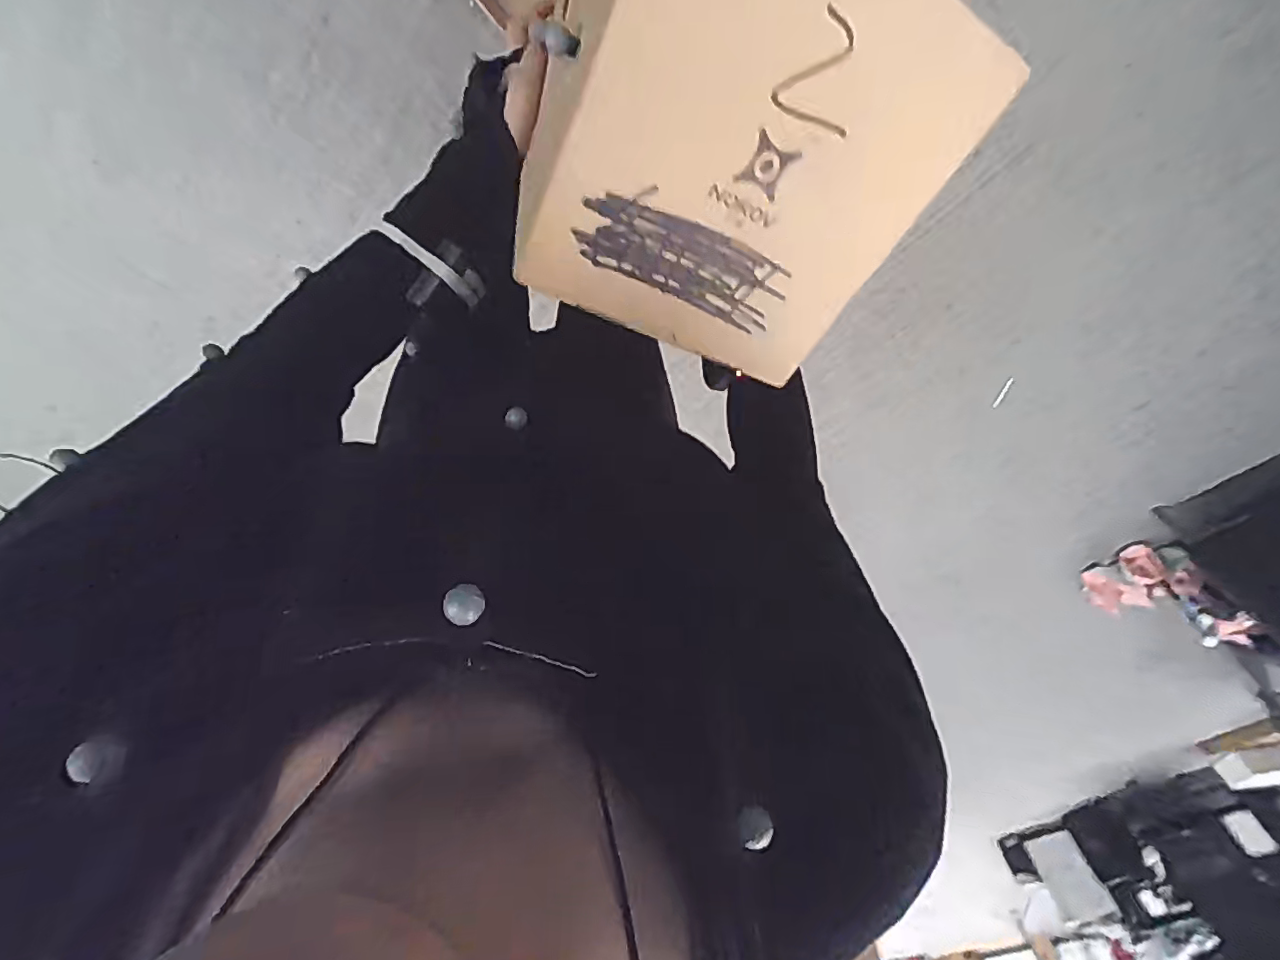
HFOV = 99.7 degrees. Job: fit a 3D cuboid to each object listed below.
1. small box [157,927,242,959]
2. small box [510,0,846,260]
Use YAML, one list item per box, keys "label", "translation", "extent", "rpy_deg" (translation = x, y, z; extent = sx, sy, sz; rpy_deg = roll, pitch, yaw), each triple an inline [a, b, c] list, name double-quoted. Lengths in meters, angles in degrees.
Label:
- label: "small box"
  translation: [-1.322, 1.439, 1.587]
  extent: [0.179, 0.176, 0.168]
  rpy_deg: [30, 122, -27]
- label: "small box"
  translation: [0.010, -0.303, 0.407]
  extent: [0.179, 0.176, 0.168]
  rpy_deg: [11, 135, -18]
